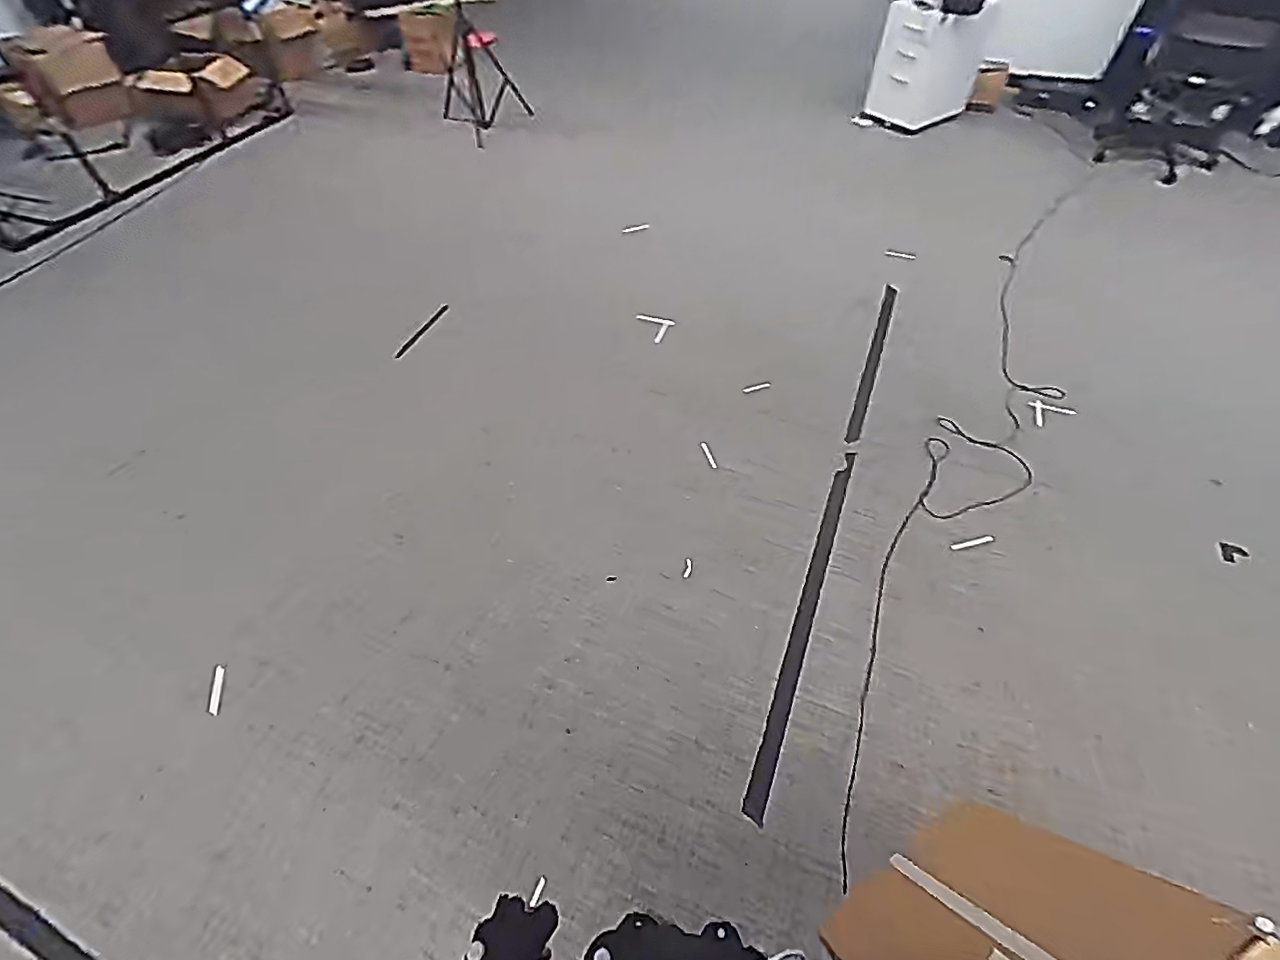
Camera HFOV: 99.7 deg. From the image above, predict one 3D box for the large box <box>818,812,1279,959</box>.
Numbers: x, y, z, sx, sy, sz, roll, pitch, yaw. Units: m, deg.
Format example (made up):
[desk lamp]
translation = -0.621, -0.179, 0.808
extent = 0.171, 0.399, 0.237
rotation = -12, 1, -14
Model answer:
[large box]
translation = 0.480, 0.661, 0.601
extent = 0.320, 0.408, 0.320
rotation = -28, 79, -12
